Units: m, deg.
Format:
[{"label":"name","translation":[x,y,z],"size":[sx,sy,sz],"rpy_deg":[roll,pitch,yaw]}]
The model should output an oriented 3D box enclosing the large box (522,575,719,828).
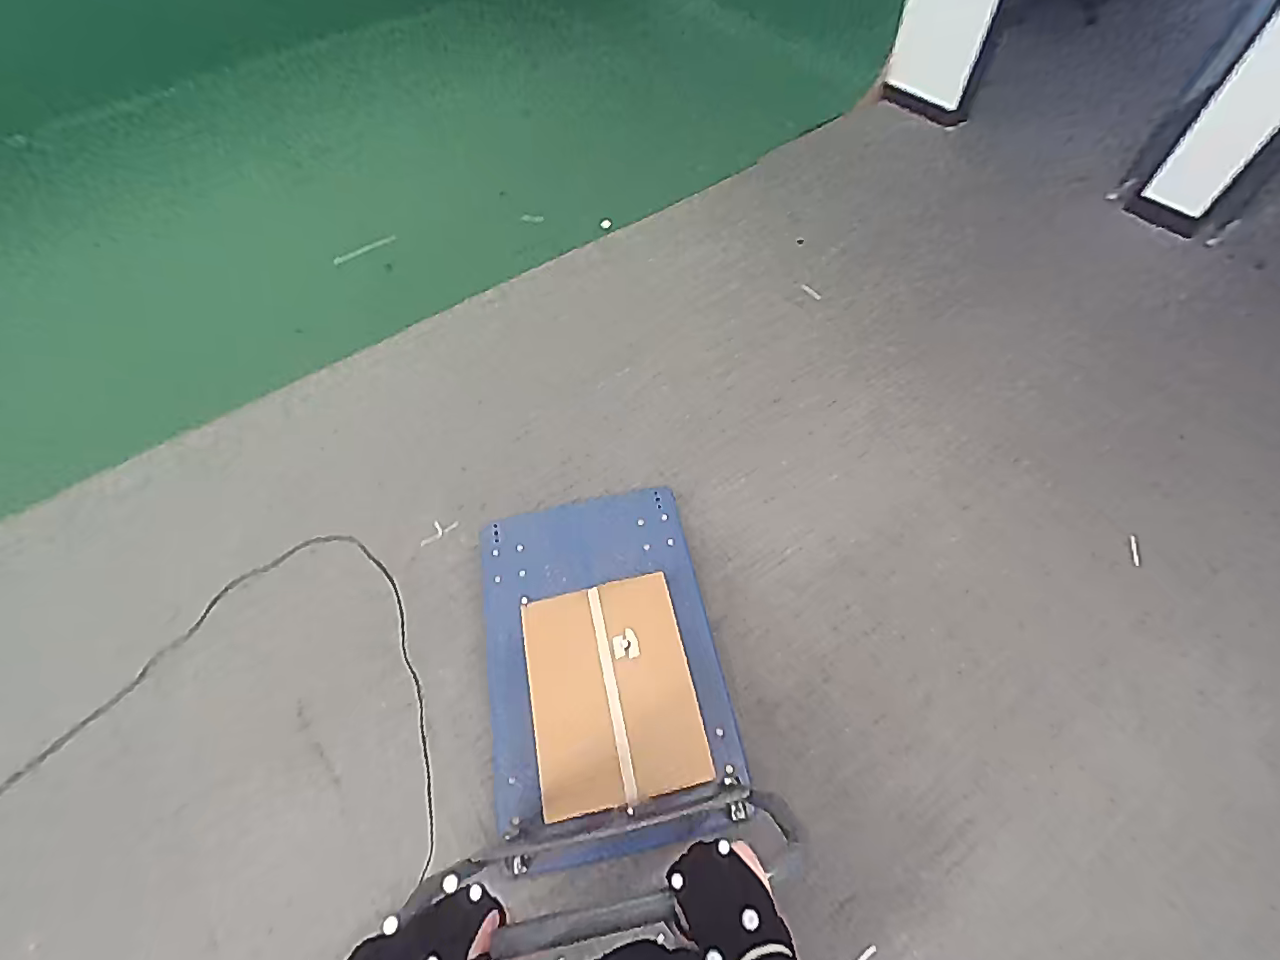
[{"label":"large box","translation":[-0.044,0.477,1.163],"size":[0.320,0.320,0.408],"rpy_deg":[-12,58,-5]}]
